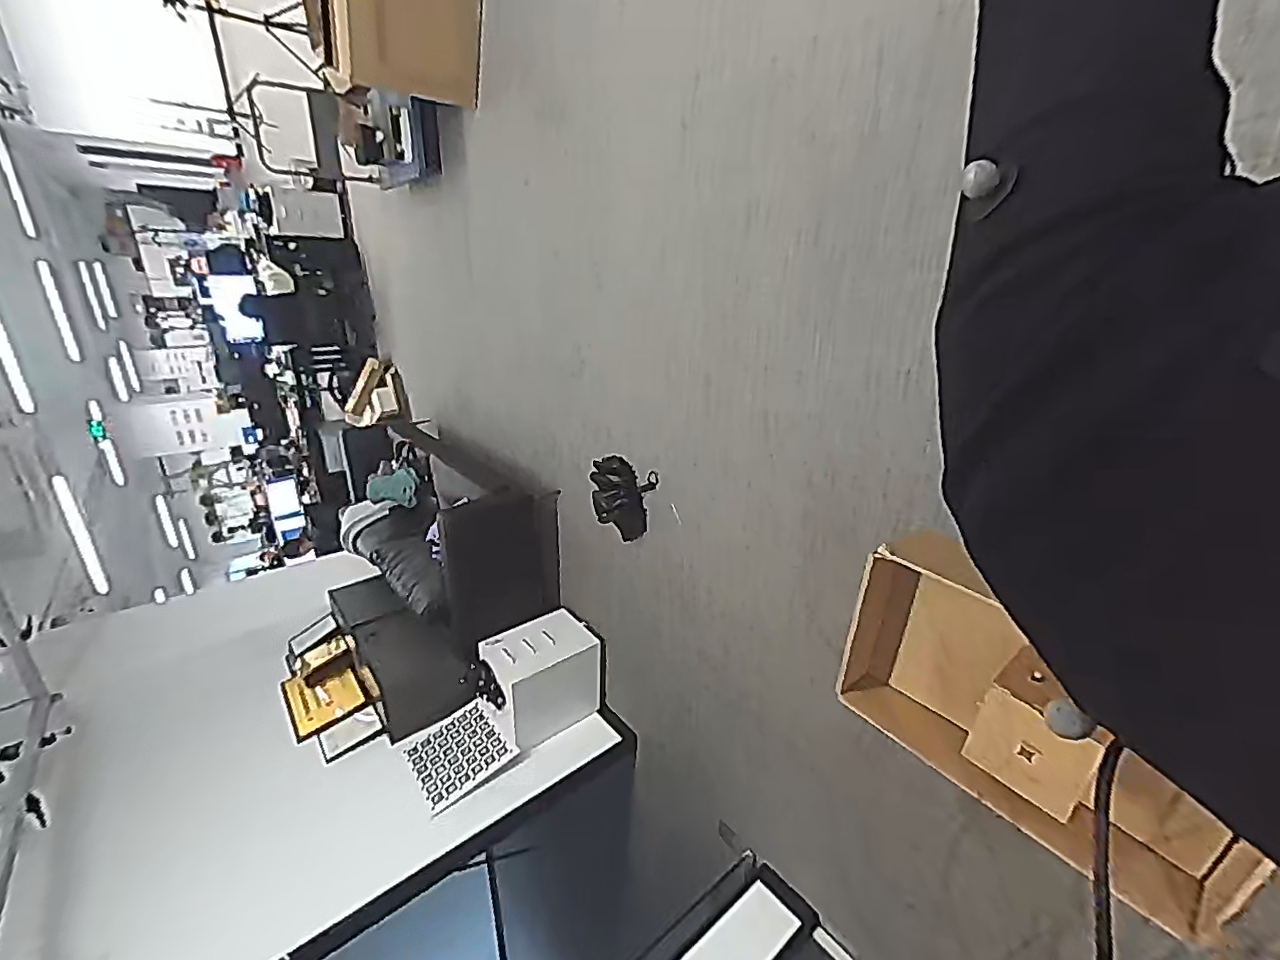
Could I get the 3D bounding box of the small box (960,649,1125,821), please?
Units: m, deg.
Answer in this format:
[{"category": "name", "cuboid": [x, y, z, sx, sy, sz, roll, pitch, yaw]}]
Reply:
[{"category": "small box", "cuboid": [0.701, 0.429, 0.942, 0.168, 0.176, 0.179, 29, 127, 46]}]
